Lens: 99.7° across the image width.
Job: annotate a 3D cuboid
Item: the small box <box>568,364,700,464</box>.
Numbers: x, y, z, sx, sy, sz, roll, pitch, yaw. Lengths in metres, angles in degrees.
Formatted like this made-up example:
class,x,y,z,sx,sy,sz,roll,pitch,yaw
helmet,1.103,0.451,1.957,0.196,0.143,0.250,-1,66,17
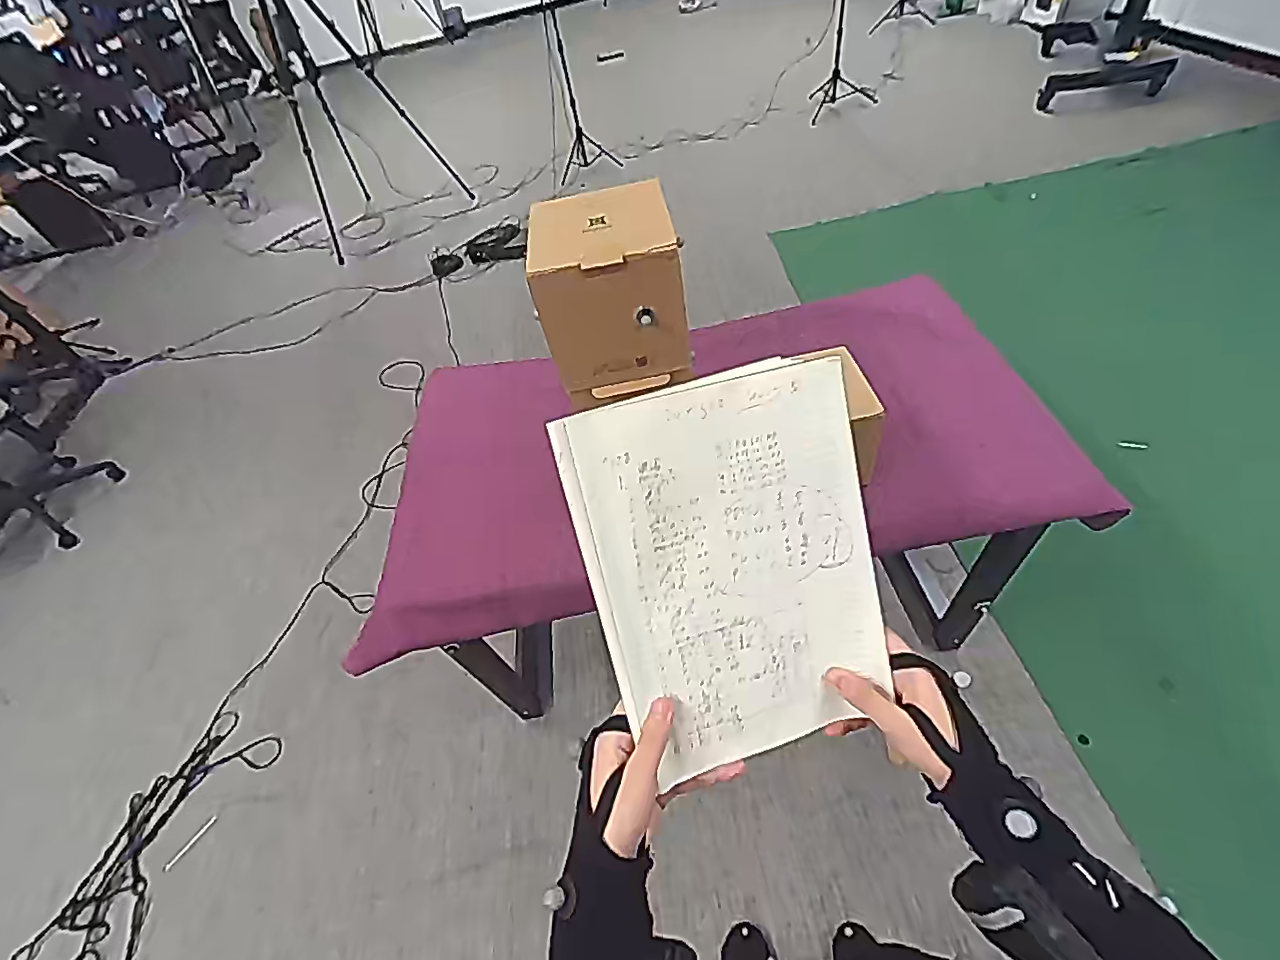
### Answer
class,x,y,z,sx,sy,sz,roll,pitch,yaw
small box,-0.008,-0.140,0.814,0.168,0.176,0.179,-10,49,3

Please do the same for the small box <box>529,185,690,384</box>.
class,x,y,z,sx,sy,sz,roll,pitch,yaw
small box,-0.033,-0.239,0.687,0.168,0.176,0.179,-9,49,3

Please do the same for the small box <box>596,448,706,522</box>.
class,x,y,z,sx,sy,sz,roll,pitch,yaw
small box,0.018,-0.041,0.944,0.168,0.176,0.179,-10,50,3
